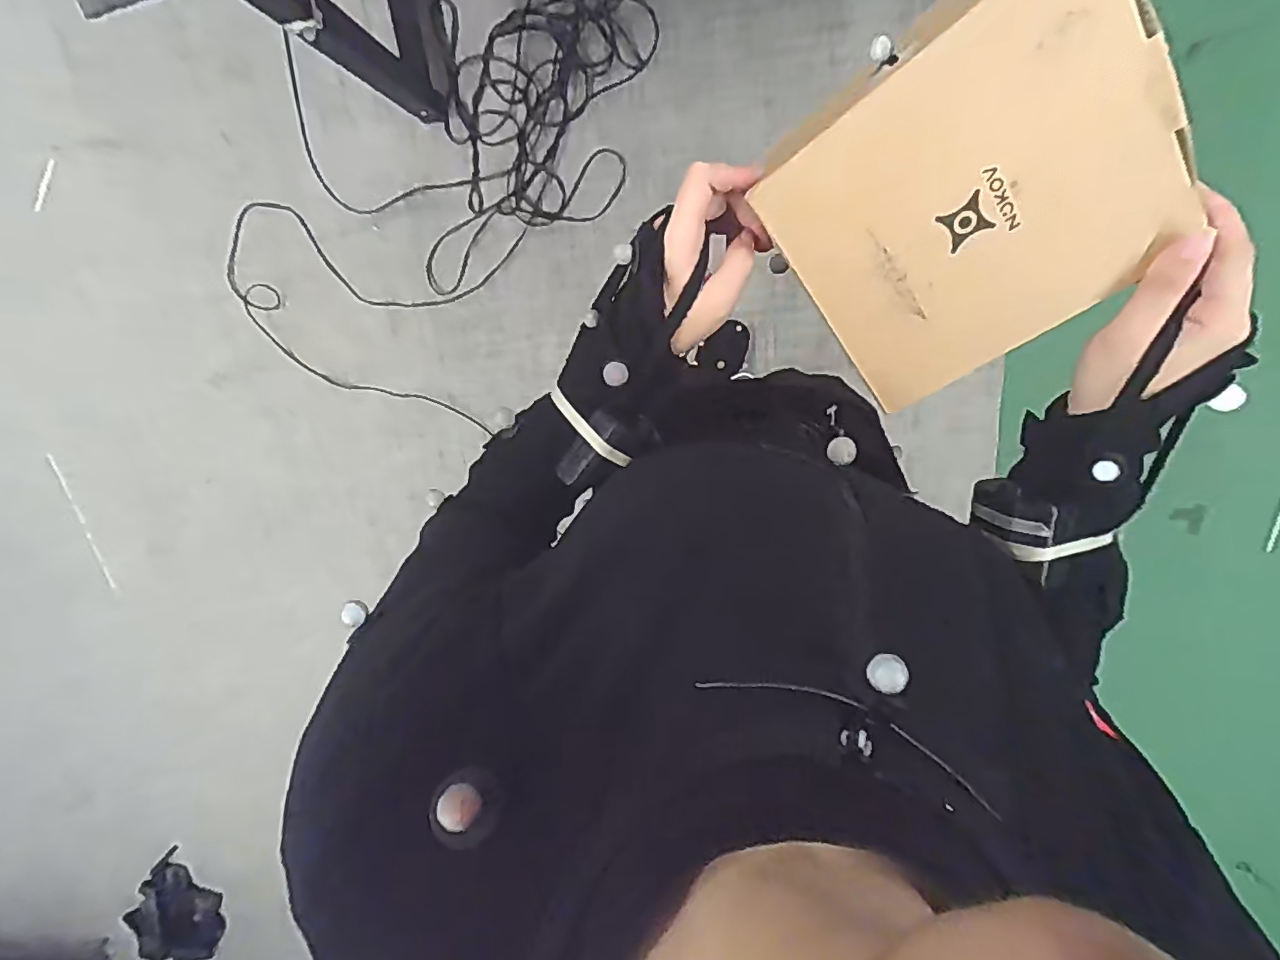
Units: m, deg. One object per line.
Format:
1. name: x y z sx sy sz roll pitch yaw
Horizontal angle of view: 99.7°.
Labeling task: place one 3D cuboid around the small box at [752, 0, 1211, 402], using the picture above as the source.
1. small box: 0.187 -0.189 0.350 0.179 0.176 0.168 -32 112 27
